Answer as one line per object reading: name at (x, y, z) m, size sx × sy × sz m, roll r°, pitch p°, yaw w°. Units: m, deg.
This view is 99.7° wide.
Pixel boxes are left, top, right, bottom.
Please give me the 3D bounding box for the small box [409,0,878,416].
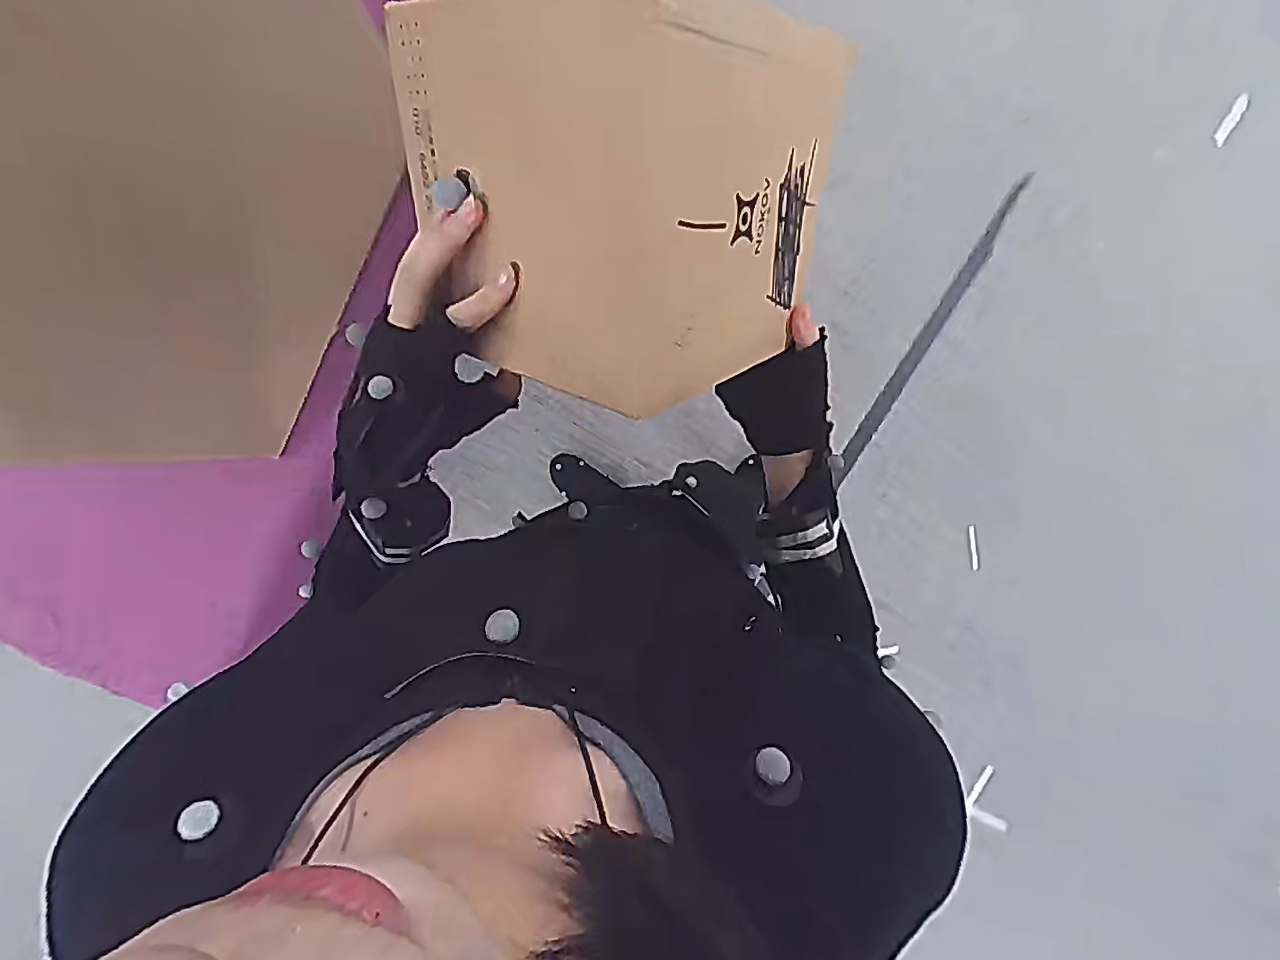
small box at (0.002, -0.158, 0.307) m, size 0.176 × 0.179 × 0.168 m, roll 25°, pitch 127°, yaw 32°
